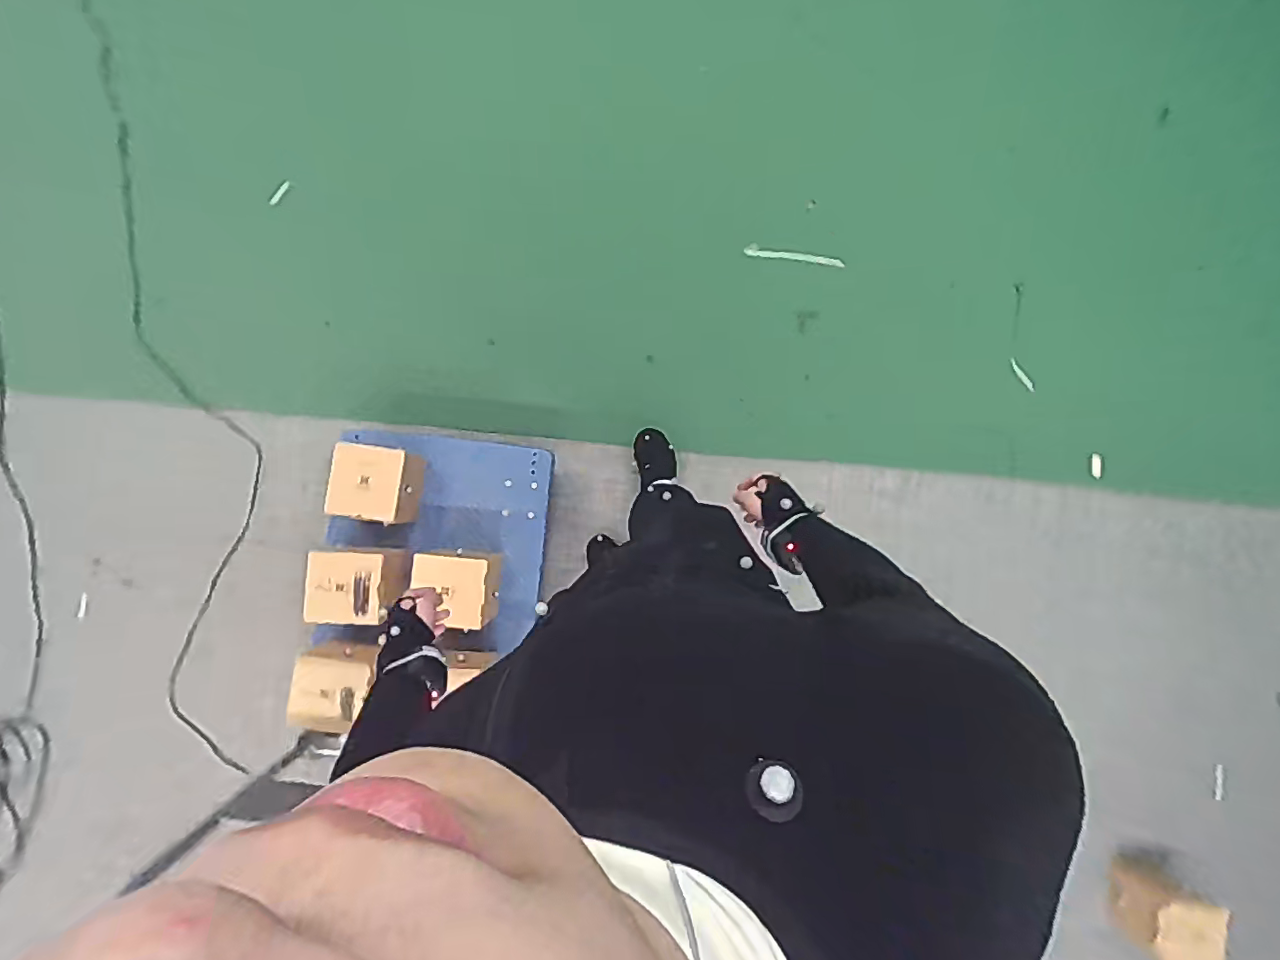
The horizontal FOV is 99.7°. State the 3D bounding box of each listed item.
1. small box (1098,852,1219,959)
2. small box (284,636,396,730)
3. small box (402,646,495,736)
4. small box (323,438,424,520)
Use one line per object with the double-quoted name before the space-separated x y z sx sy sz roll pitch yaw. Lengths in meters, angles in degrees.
"small box" 1.501 1.227 1.572 0.179 0.176 0.168 16 84 0
"small box" -0.727 0.492 1.330 0.179 0.176 0.168 8 86 -2
"small box" -0.465 0.516 1.340 0.179 0.176 0.168 3 87 -3
"small box" -0.660 0.000 1.359 0.168 0.176 0.179 8 87 -3
